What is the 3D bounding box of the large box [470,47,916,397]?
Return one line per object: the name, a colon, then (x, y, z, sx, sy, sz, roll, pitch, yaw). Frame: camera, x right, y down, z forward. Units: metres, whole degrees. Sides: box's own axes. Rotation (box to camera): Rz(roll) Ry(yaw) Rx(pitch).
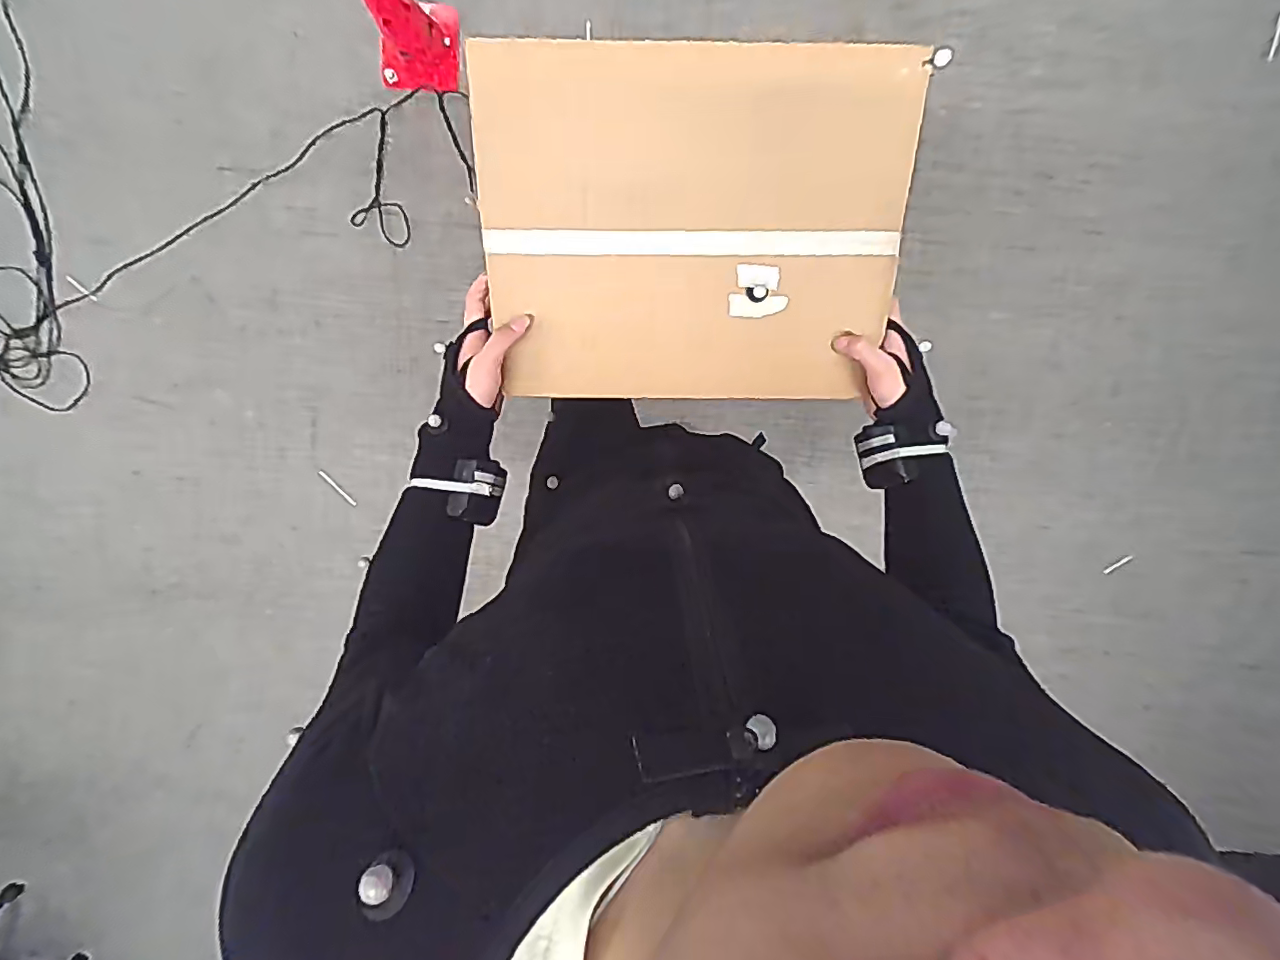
large box: (0.046, -0.296, 0.671, 0.408, 0.320, 0.320, -1, 114, -1)
